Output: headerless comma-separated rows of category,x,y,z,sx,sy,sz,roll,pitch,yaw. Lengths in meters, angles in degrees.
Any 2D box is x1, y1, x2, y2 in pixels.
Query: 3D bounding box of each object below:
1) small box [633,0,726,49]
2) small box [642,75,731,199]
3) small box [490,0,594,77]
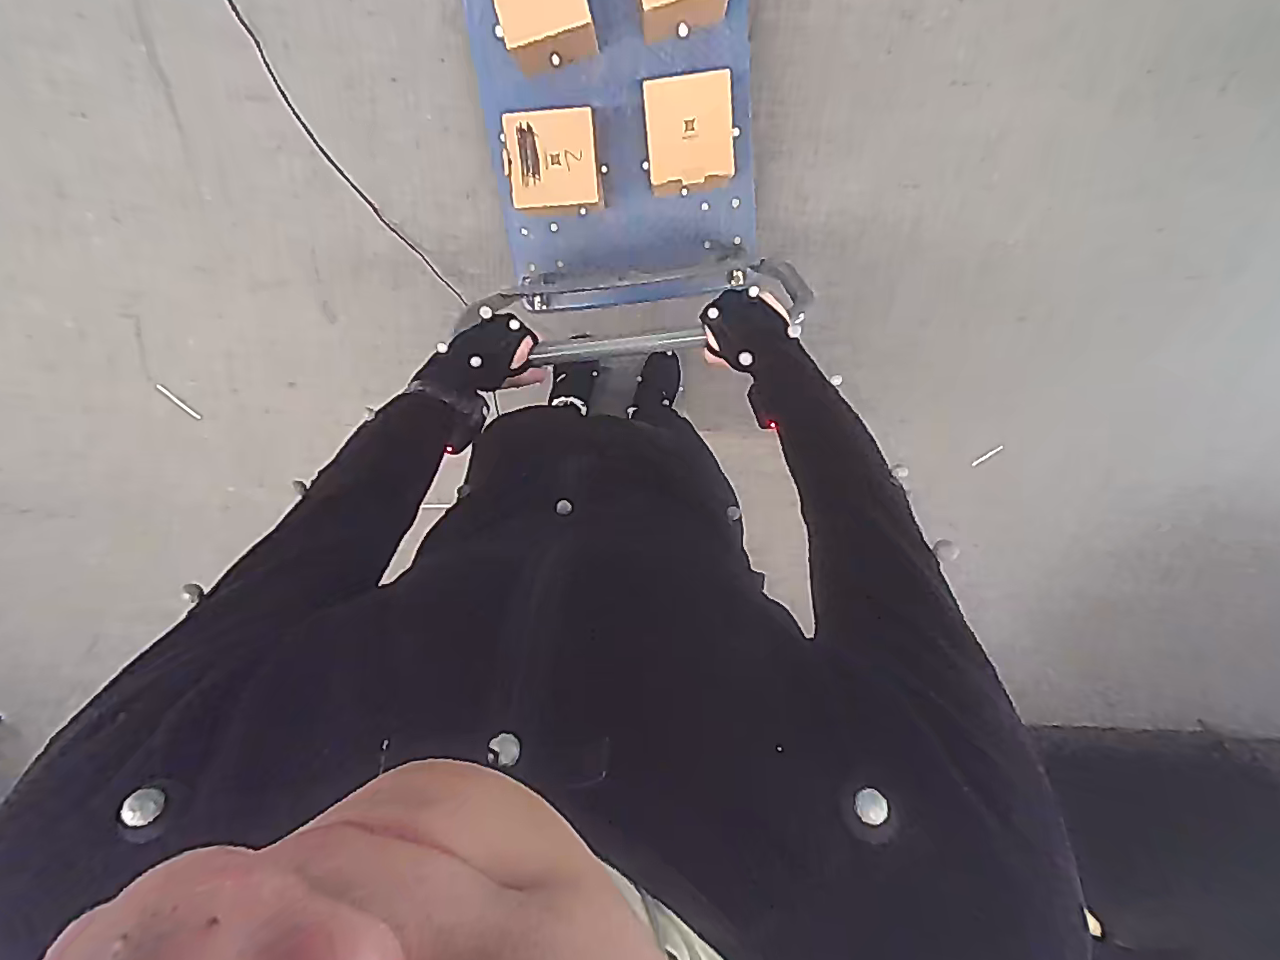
small box,0.063,-0.965,1.017,0.168,0.176,0.179,-12,111,6
small box,0.093,-0.699,1.119,0.168,0.176,0.179,-6,111,3
small box,-0.191,-0.913,1.041,0.168,0.176,0.179,-13,110,5
